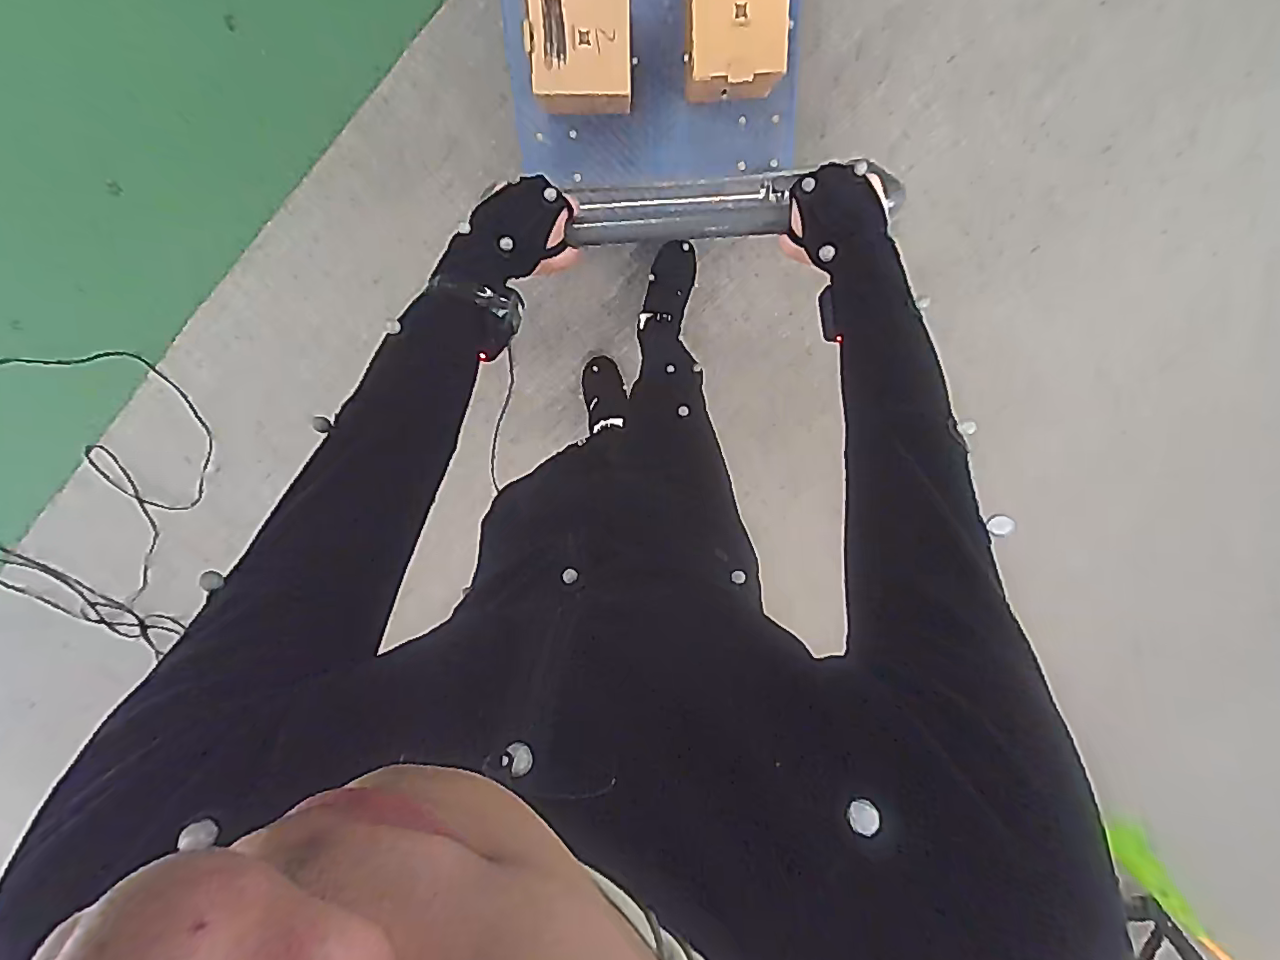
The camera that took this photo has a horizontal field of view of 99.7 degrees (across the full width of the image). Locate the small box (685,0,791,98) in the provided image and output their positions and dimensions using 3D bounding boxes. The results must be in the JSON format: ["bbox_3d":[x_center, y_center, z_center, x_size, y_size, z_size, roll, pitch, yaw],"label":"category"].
[{"bbox_3d":[0.171,-0.823,0.984,0.168,0.176,0.179,-4,115,1],"label":"small box"}]
